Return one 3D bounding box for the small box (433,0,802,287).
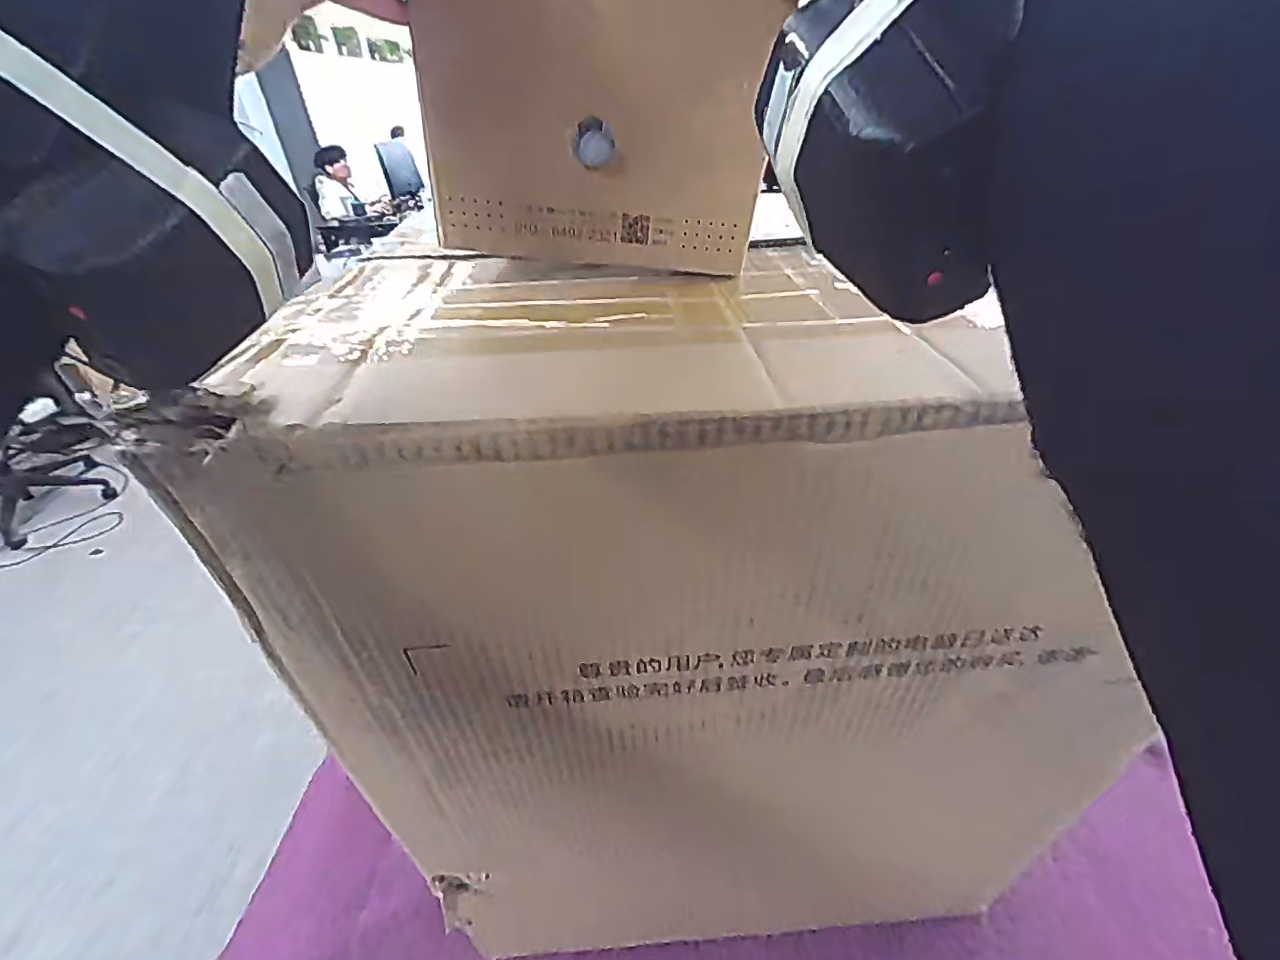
[{"bbox_3d":[-0.015,-0.231,0.317,0.168,0.176,0.179,4,40,-3],"label":"small box"}]
